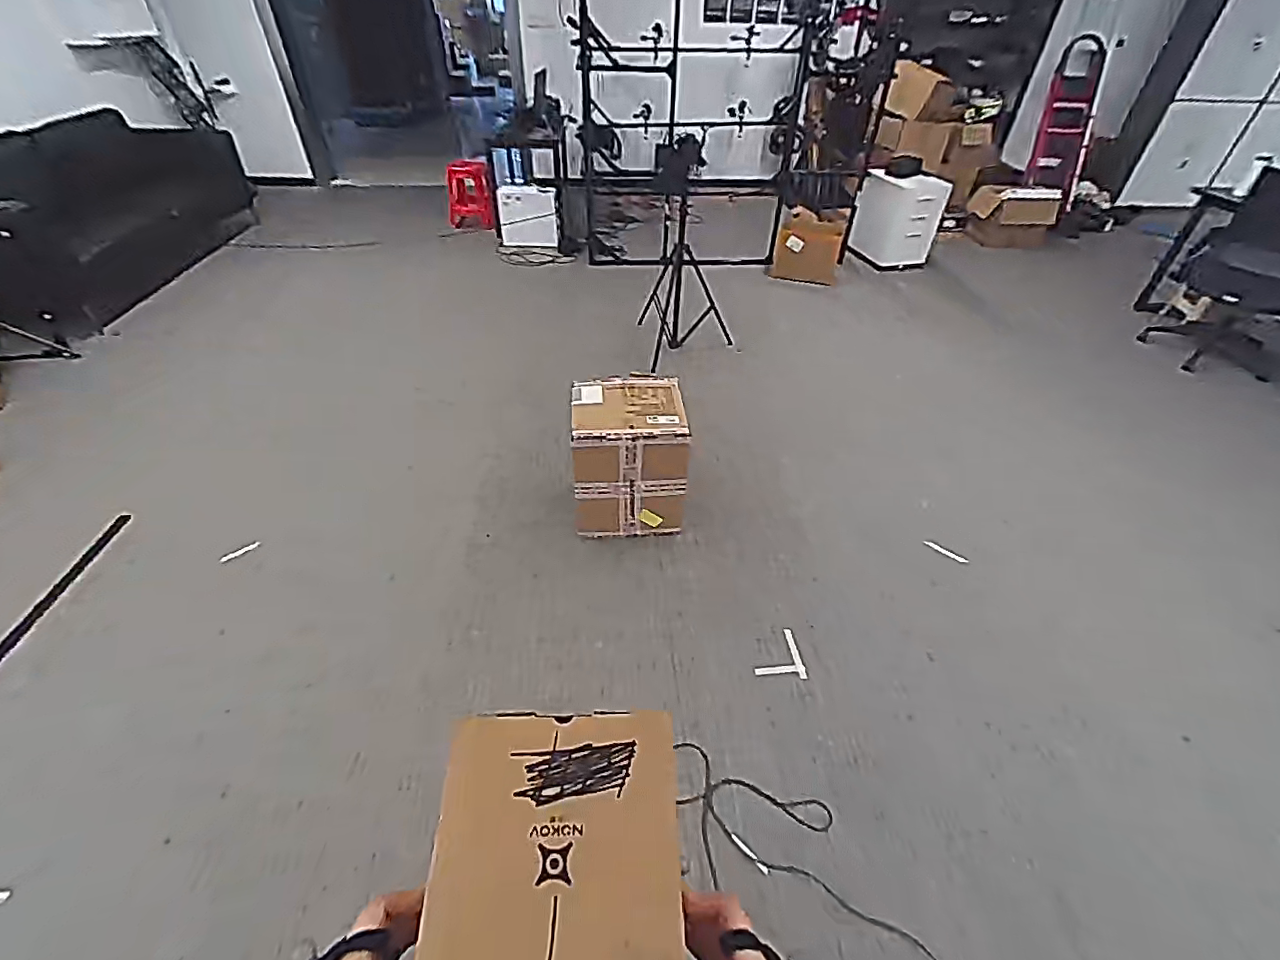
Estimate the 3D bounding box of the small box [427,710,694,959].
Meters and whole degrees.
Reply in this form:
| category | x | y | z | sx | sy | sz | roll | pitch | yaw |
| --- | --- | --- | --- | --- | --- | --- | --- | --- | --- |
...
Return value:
| category | x | y | z | sx | sy | sz | roll | pitch | yaw |
| --- | --- | --- | --- | --- | --- | --- | --- | --- | --- |
| small box | -0.054 | 0.300 | 0.429 | 0.168 | 0.176 | 0.179 | 0 | 50 | -4 |
